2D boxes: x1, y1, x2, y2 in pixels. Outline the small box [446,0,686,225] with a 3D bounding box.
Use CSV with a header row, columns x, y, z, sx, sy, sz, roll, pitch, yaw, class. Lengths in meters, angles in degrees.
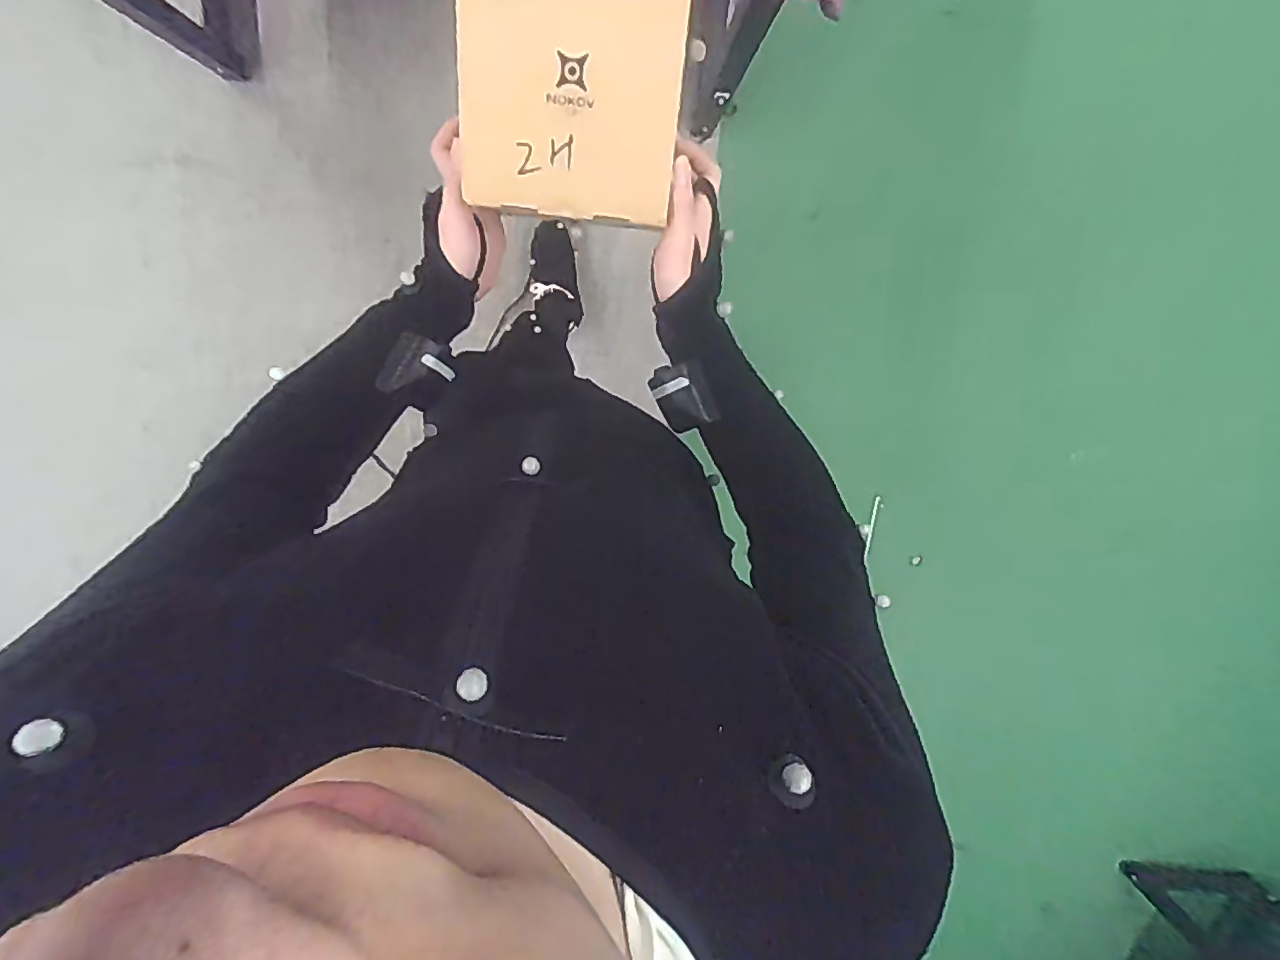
x,y,z,sx,sy,sz,roll,pitch,yaw,class
-0.057,-0.325,0.460,0.168,0.176,0.179,6,113,-3,small box
